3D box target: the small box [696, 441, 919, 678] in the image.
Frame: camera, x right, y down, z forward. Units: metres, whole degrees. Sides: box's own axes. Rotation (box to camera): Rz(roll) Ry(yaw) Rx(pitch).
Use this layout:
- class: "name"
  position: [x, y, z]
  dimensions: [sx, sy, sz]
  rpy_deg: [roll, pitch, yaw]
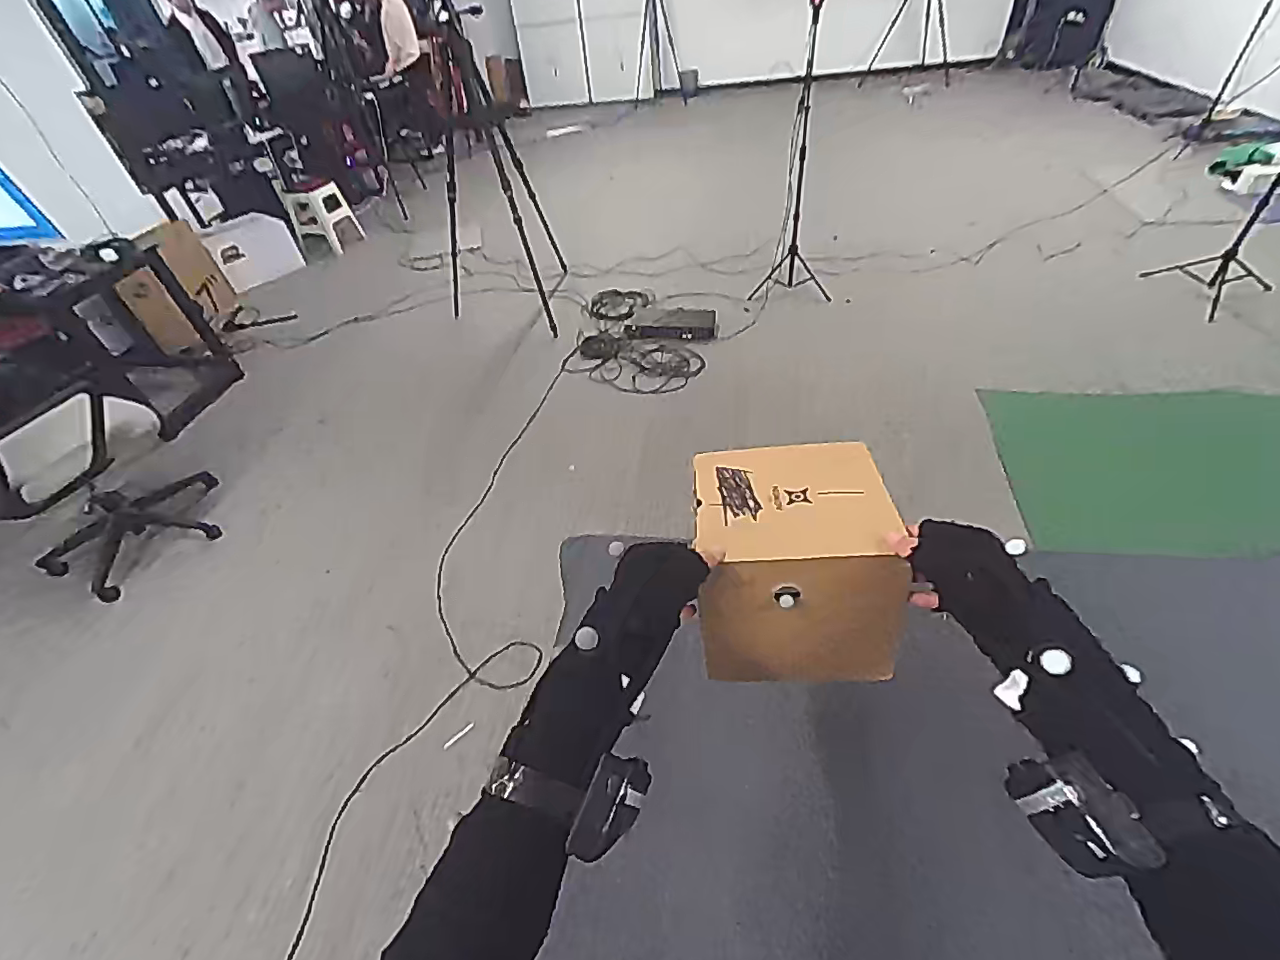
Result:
- class: "small box"
  position: [0.152, 0.080, 0.539]
  dimensions: [0.179, 0.176, 0.168]
  rpy_deg: [-4, 36, 9]
